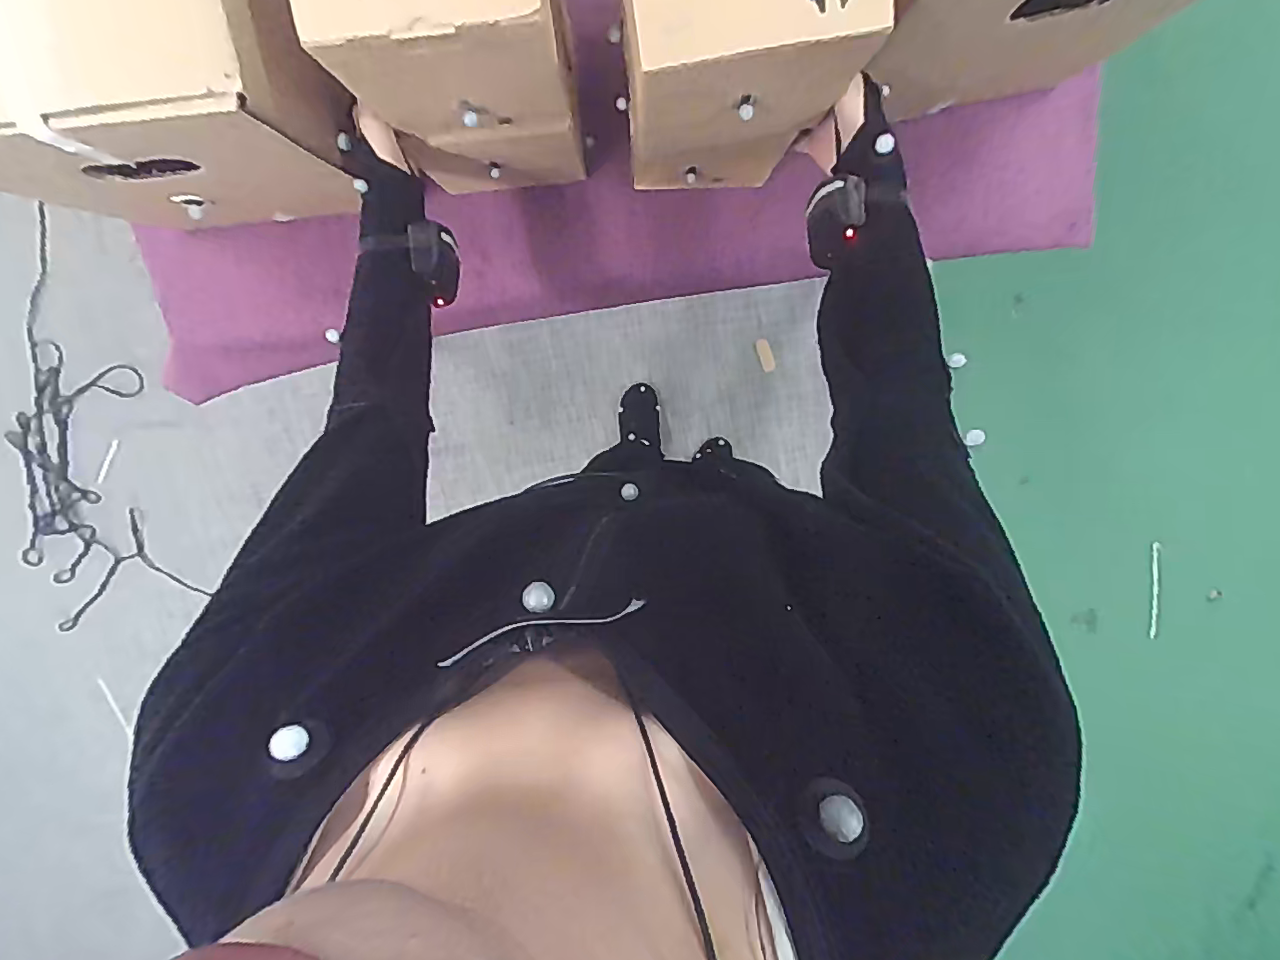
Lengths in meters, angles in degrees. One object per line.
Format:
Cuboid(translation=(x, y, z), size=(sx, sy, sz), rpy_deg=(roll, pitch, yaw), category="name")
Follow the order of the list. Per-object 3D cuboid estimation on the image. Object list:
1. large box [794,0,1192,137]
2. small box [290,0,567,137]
Cuboid(translation=(0.319, -0.605, 0.477), size=(0.320, 0.320, 0.408), rpy_deg=(-10, 104, 4), category="large box")
Cuboid(translation=(-0.154, -0.400, 0.418), size=(0.168, 0.176, 0.179), rpy_deg=(-5, 103, 1), category="small box")
